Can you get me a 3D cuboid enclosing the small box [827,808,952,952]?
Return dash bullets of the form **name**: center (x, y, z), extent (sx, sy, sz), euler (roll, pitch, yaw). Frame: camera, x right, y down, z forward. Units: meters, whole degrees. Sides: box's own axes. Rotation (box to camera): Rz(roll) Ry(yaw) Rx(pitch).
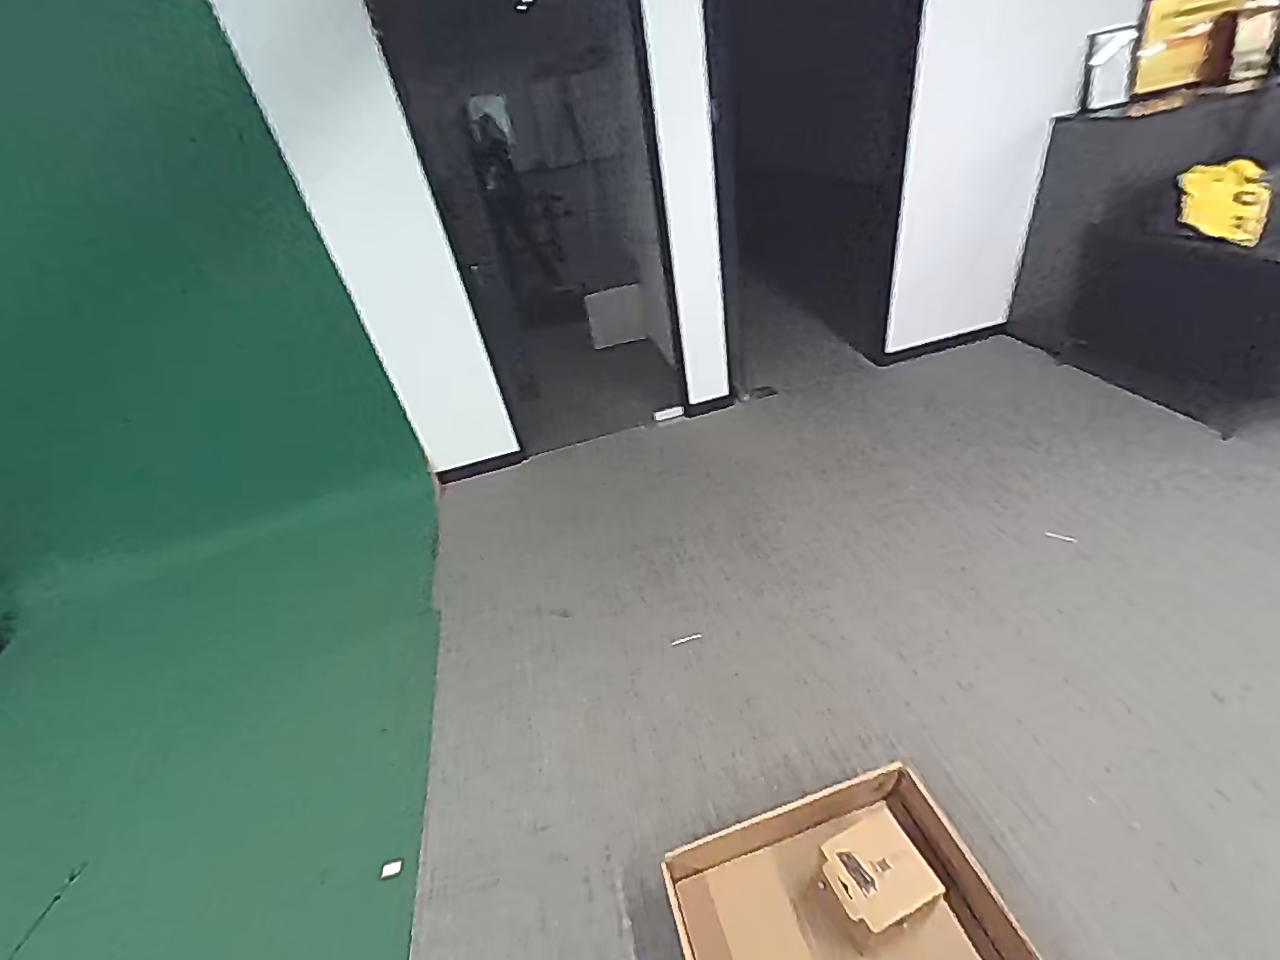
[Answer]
- **small box**: center (0.516, 0.843, 1.139), extent (0.179, 0.176, 0.168), euler (-21, 37, -11)
